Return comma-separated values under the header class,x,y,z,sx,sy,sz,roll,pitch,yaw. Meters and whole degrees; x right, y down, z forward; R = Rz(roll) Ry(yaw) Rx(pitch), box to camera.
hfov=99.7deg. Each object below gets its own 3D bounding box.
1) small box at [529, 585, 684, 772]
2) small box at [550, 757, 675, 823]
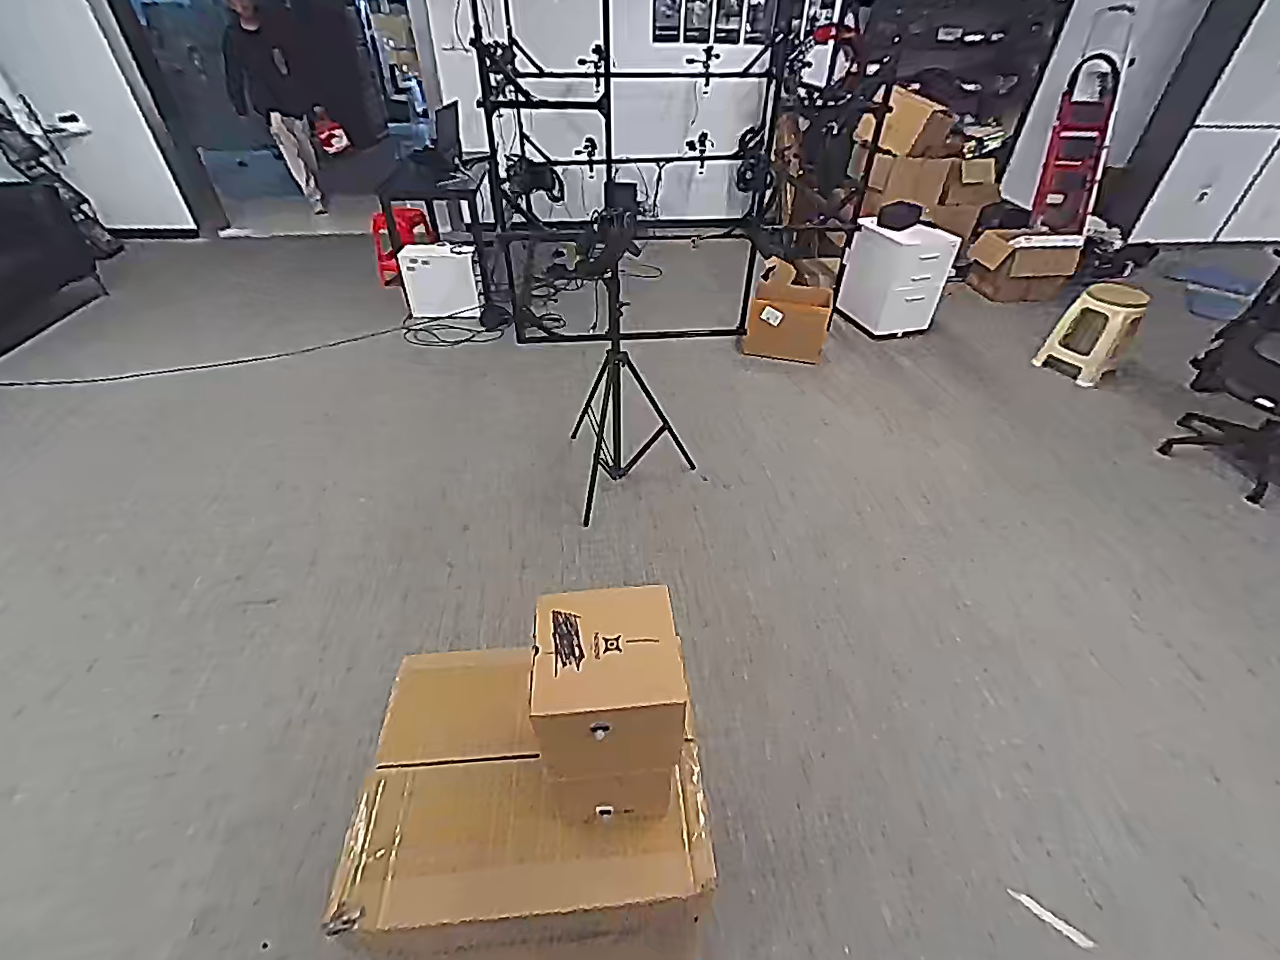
class,x,y,z,sx,sy,sz,roll,pitch,yaw
small box,-0.041,0.261,0.708,0.179,0.176,0.168,-4,41,-4
small box,-0.042,0.386,0.816,0.168,0.176,0.179,-5,42,-3
